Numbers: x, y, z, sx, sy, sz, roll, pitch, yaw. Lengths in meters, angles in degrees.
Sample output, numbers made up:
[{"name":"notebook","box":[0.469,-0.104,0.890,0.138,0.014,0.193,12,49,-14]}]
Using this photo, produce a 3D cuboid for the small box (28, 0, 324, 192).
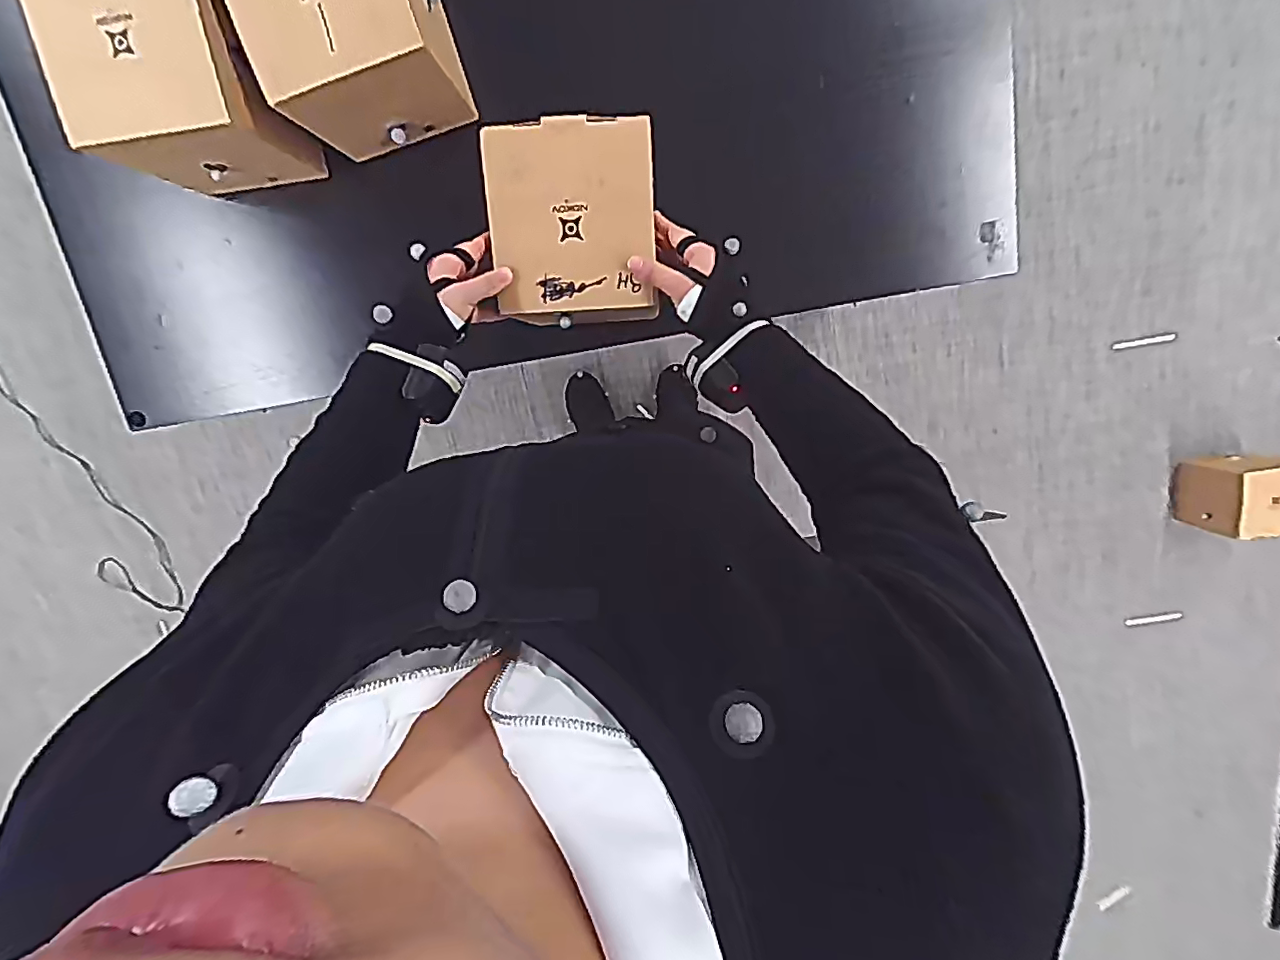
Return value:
[{"name":"small box","box":[-0.482,-0.433,0.589,0.168,0.176,0.179,-7,102,2]}]

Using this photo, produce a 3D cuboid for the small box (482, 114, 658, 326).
[{"name":"small box","box":[-0.065,-0.276,0.611,0.168,0.176,0.179,-3,101,3]}]

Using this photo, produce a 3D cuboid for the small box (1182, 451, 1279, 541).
[{"name":"small box","box":[1.542,0.036,1.377,0.168,0.176,0.179,-10,102,3]}]
